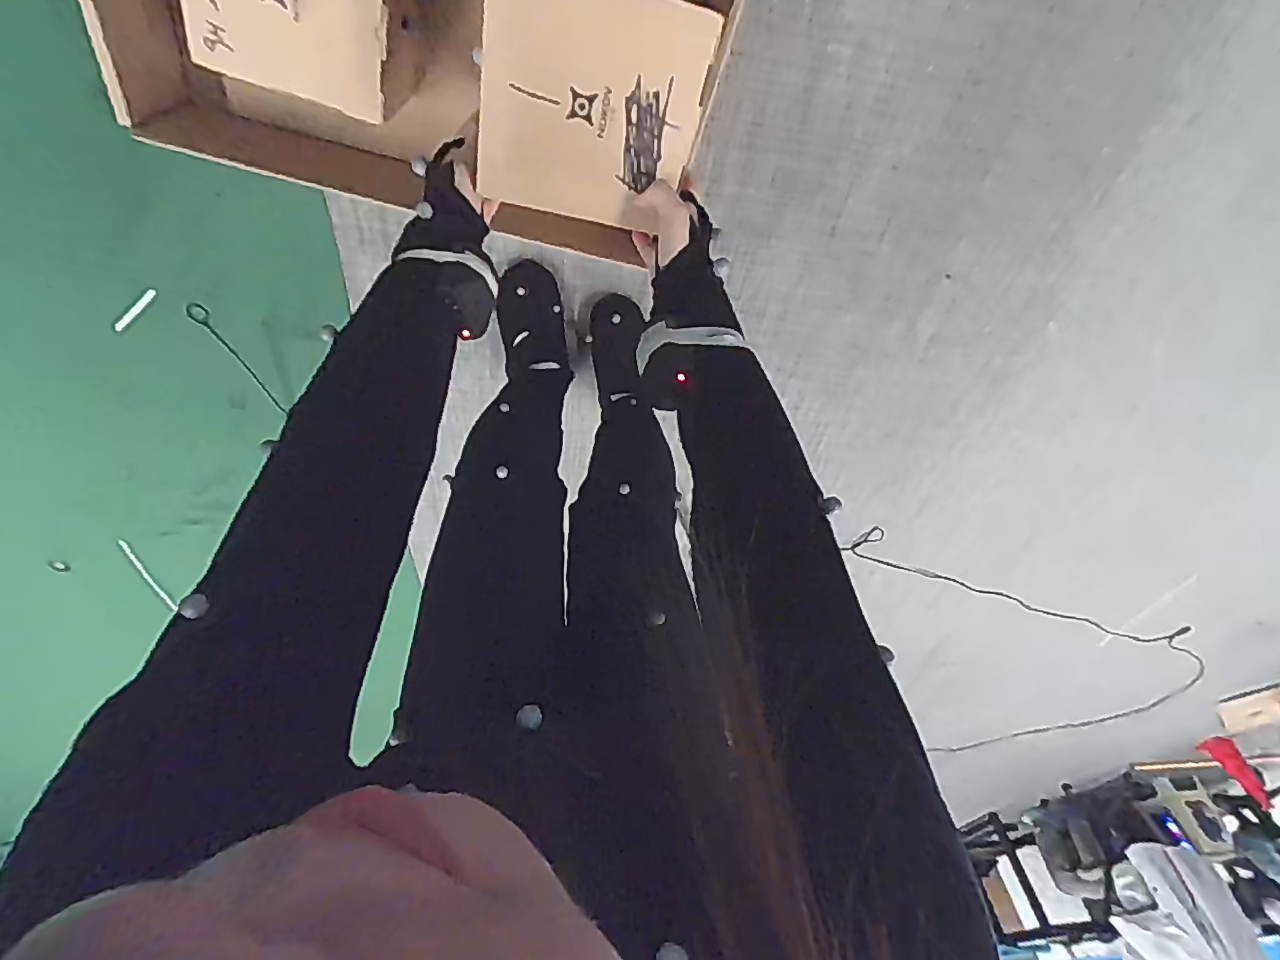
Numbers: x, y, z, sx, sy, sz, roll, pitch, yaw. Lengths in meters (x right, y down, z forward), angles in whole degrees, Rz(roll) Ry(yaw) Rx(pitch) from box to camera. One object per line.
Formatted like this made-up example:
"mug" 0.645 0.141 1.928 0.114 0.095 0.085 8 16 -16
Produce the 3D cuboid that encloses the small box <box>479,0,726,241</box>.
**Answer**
"small box" -0.045 -0.346 0.495 0.179 0.176 0.168 7 130 -14

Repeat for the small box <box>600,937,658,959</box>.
"small box" -0.034 1.523 1.658 0.168 0.176 0.179 2 135 -10
